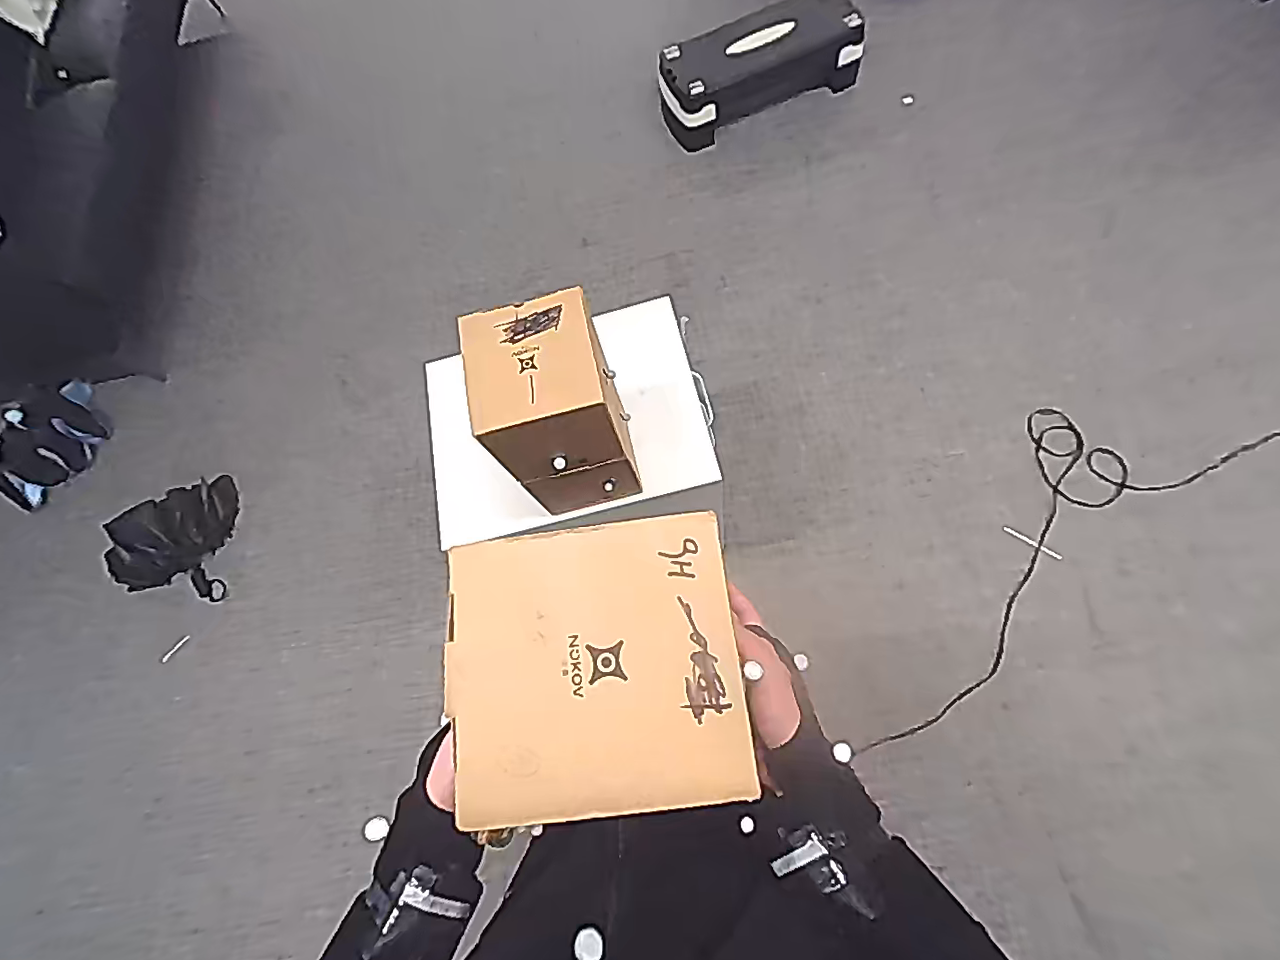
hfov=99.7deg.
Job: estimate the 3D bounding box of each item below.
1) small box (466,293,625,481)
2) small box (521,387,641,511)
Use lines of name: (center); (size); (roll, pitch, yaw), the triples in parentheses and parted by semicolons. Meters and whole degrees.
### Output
small box: (-0.123, -0.119, 0.745); (0.168, 0.176, 0.179); (-13, 69, 3)
small box: (-0.101, -0.060, 0.896); (0.168, 0.176, 0.179); (-14, 67, 2)
